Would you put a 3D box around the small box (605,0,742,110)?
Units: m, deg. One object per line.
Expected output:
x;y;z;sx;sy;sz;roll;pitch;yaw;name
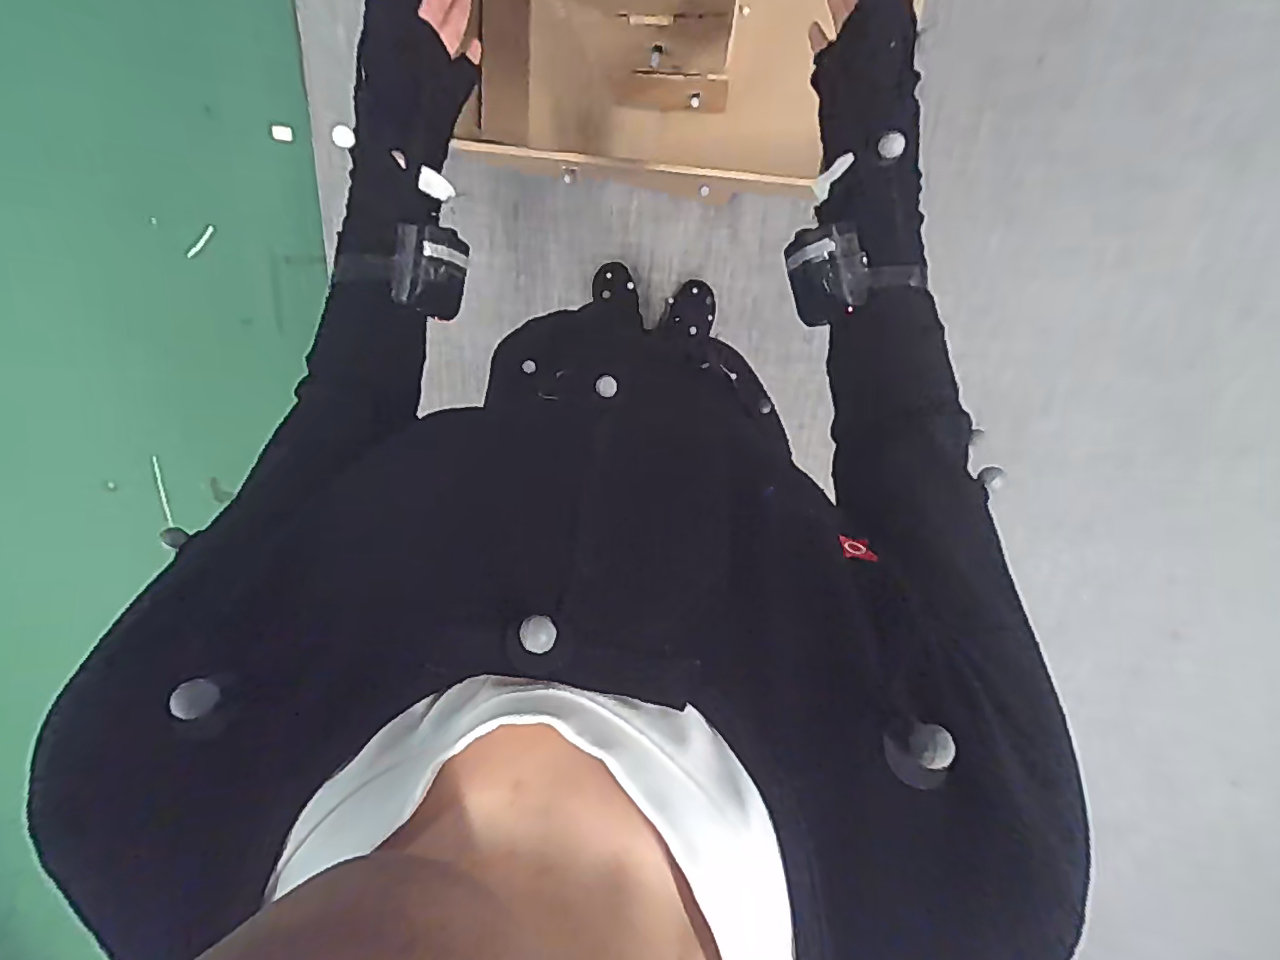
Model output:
0.051;-0.626;0.731;0.168;0.176;0.179;6;110;3;small box

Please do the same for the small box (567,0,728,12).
0.004;-0.508;0.427;0.179;0.176;0.168;5;111;3;small box

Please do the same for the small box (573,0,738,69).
0.028;-0.570;0.579;0.168;0.176;0.179;6;113;3;small box
